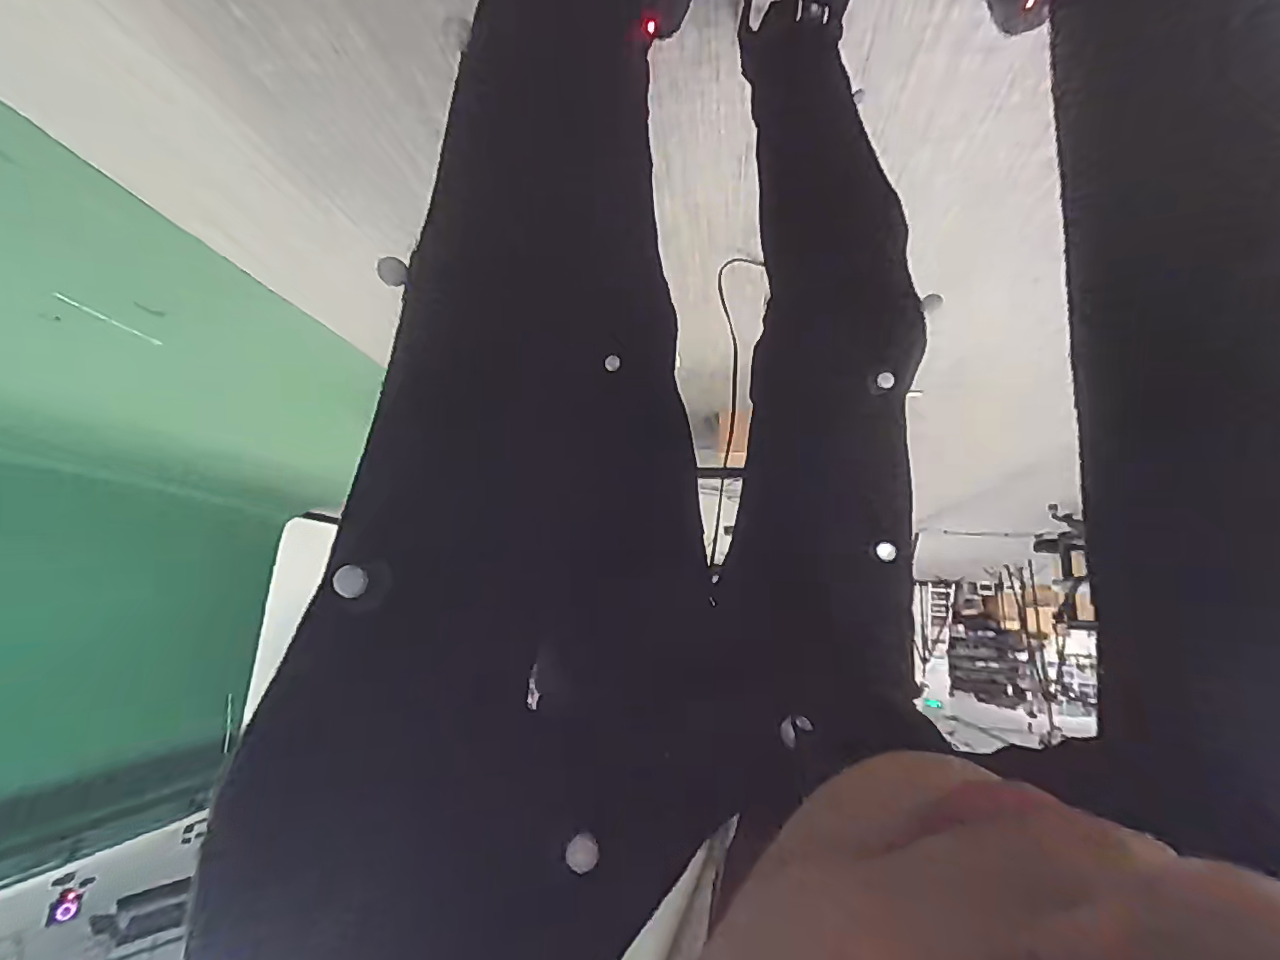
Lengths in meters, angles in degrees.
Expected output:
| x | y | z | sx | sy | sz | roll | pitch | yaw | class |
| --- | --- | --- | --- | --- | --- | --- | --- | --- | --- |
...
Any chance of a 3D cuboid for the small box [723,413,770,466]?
| x | y | z | sx | sy | sz | roll | pitch | yaw | class |
| --- | --- | --- | --- | --- | --- | --- | --- | --- | --- |
| 0.409 | -0.154 | 2.078 | 0.179 | 0.176 | 0.168 | 1 | 167 | 12 | small box |
